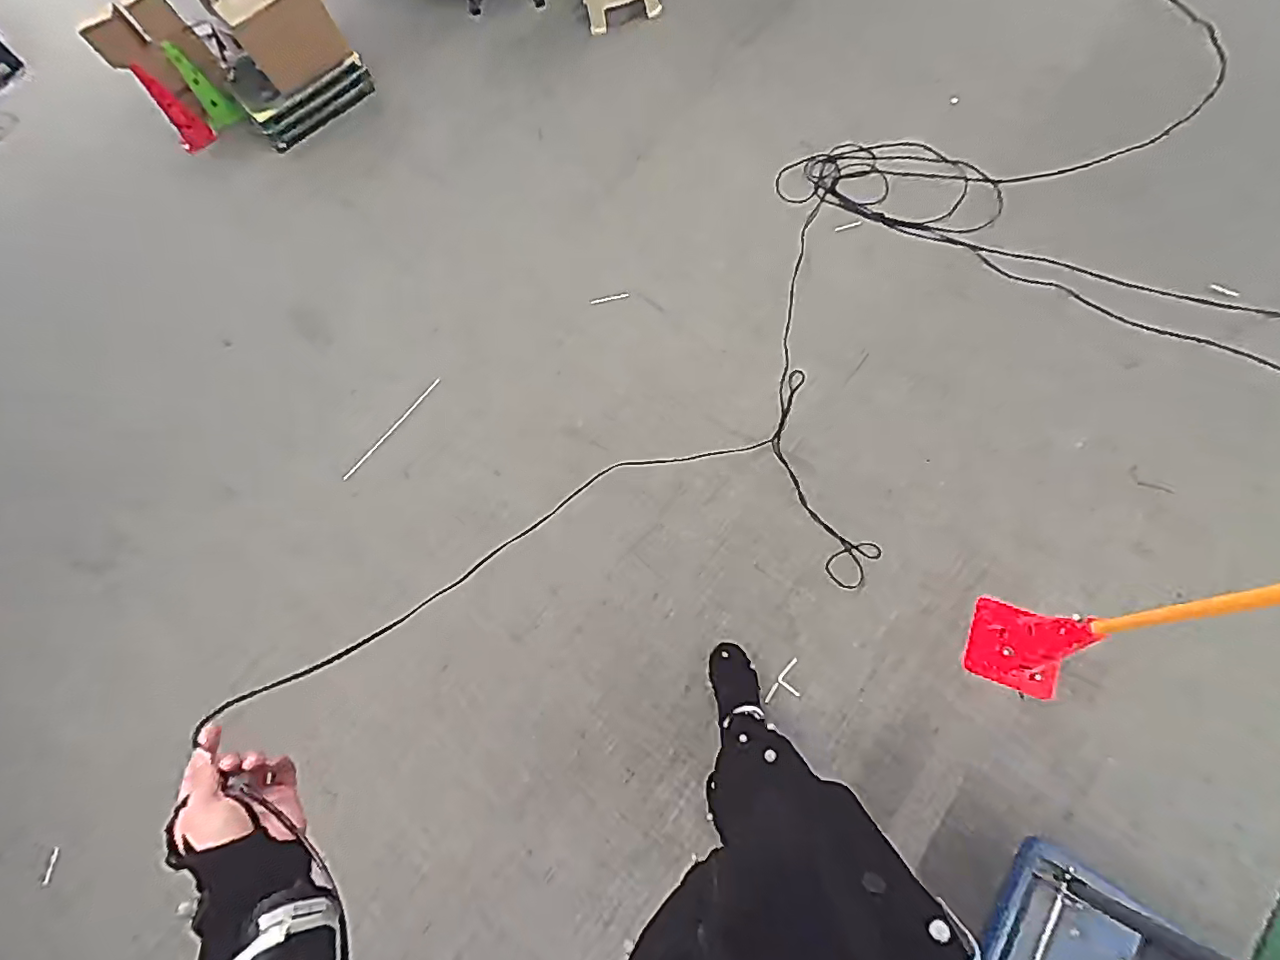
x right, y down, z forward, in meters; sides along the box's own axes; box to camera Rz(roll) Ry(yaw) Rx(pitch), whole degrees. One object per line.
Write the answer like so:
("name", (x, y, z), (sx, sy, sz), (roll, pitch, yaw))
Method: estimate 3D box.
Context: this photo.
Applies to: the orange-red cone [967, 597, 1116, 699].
("orange-red cone", (0.896, 0.340, 1.171), (0.198, 0.360, 0.199), (20, 71, 17))
